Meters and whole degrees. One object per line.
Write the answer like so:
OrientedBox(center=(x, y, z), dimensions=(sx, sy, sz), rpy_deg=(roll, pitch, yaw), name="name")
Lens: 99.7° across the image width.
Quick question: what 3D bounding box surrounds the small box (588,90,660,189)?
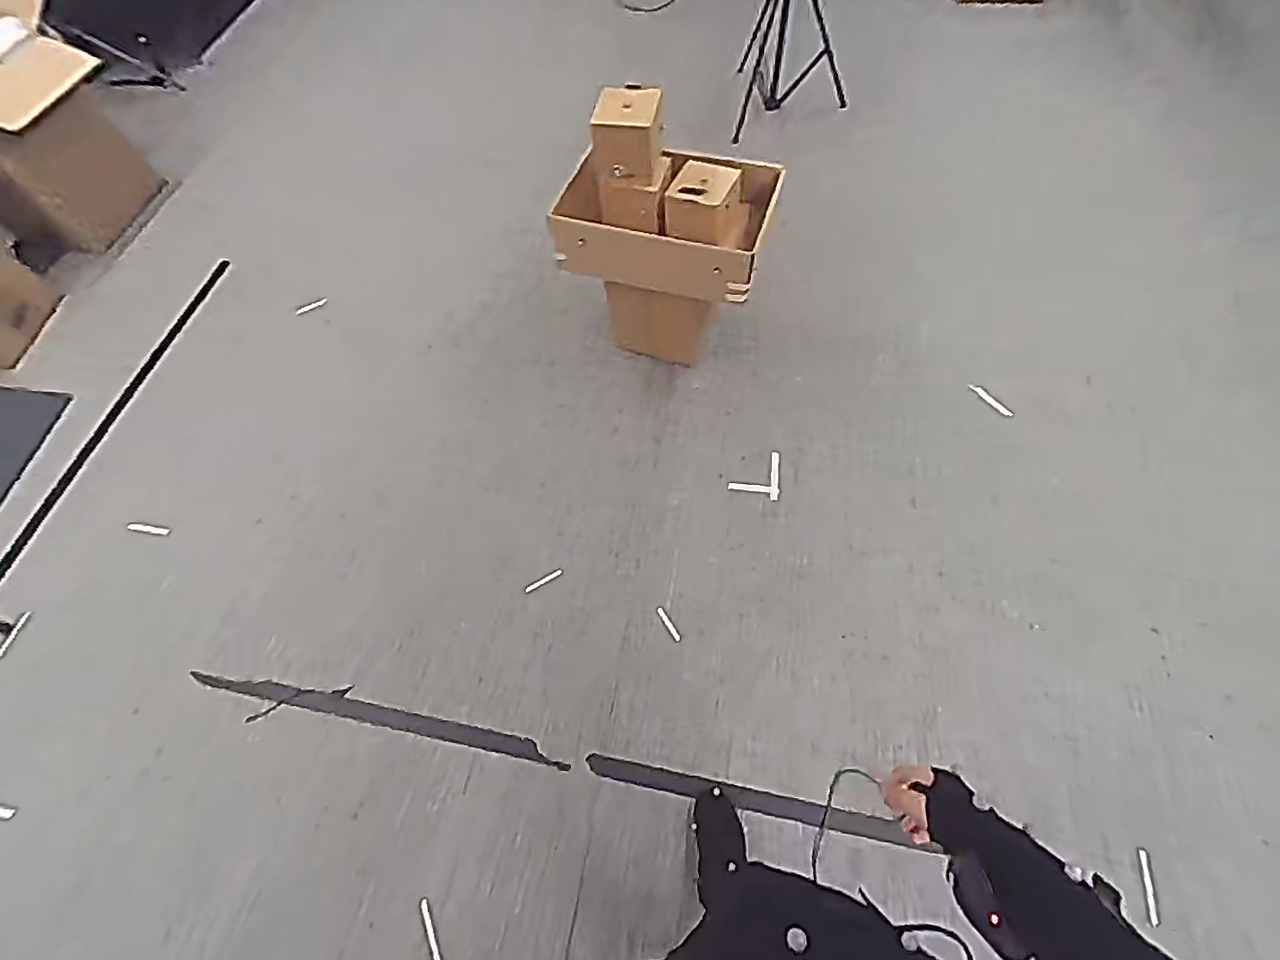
OrientedBox(center=(-0.040, -0.948, 1.509), dimensions=(0.168, 0.176, 0.179), rpy_deg=(8, 63, 8), name="small box")
